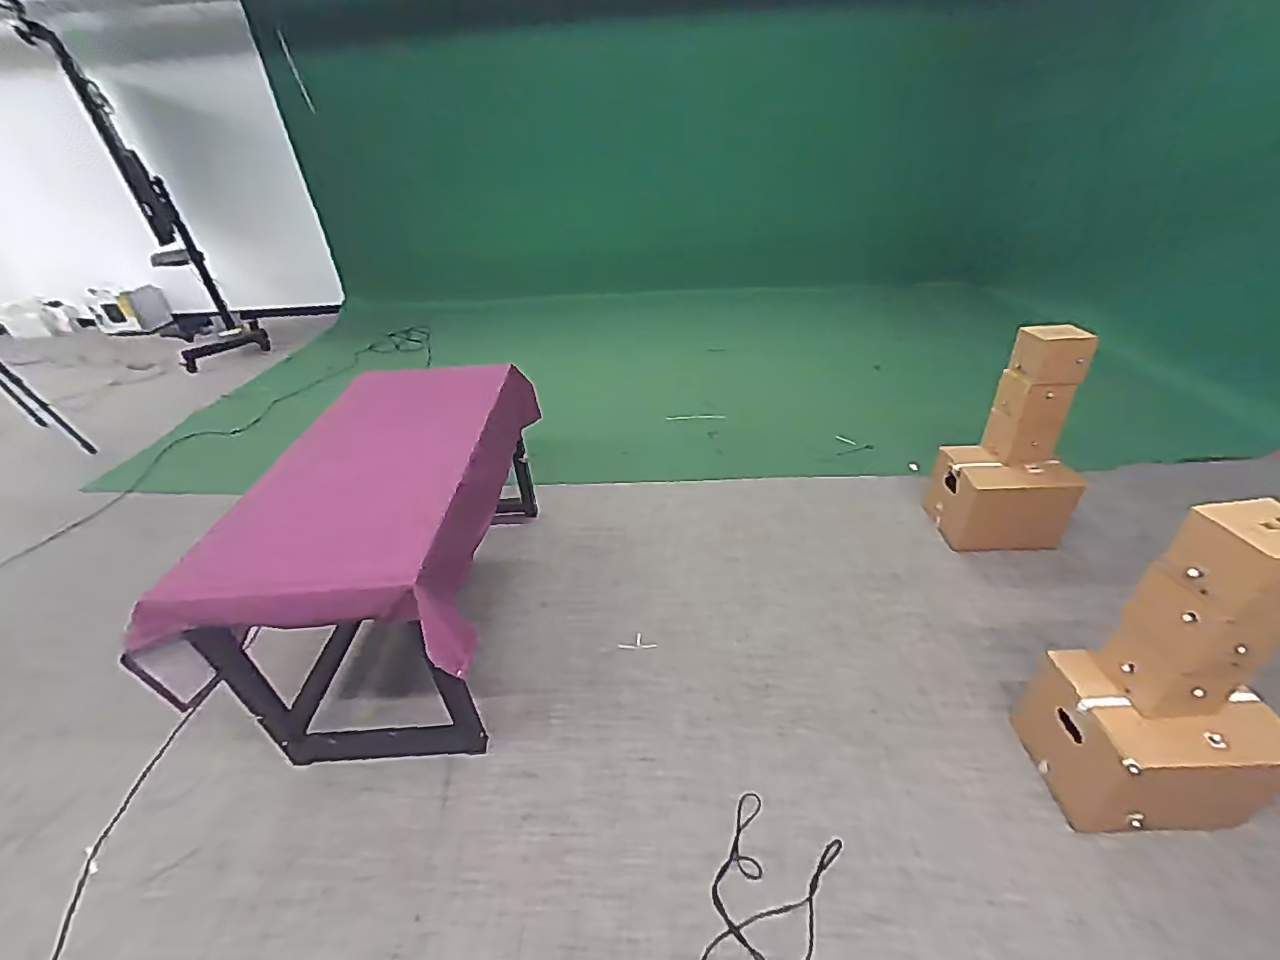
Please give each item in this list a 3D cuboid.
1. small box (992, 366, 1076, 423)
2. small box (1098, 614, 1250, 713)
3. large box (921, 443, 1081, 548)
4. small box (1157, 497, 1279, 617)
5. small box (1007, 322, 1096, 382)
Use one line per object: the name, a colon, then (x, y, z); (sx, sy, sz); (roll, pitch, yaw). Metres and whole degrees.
small box: (1.478, -0.324, 2.043); (0.179, 0.176, 0.168); (-3, 32, 3)
small box: (1.238, 0.429, 1.277); (0.179, 0.176, 0.168); (-5, 34, 0)
large box: (1.442, 0.061, 2.205); (0.408, 0.320, 0.320); (-1, 34, 2)
small box: (1.222, 0.155, 1.092); (0.179, 0.176, 0.168); (-6, 33, -3)
small box: (1.476, -0.461, 1.952); (0.179, 0.176, 0.168); (-2, 31, 4)
